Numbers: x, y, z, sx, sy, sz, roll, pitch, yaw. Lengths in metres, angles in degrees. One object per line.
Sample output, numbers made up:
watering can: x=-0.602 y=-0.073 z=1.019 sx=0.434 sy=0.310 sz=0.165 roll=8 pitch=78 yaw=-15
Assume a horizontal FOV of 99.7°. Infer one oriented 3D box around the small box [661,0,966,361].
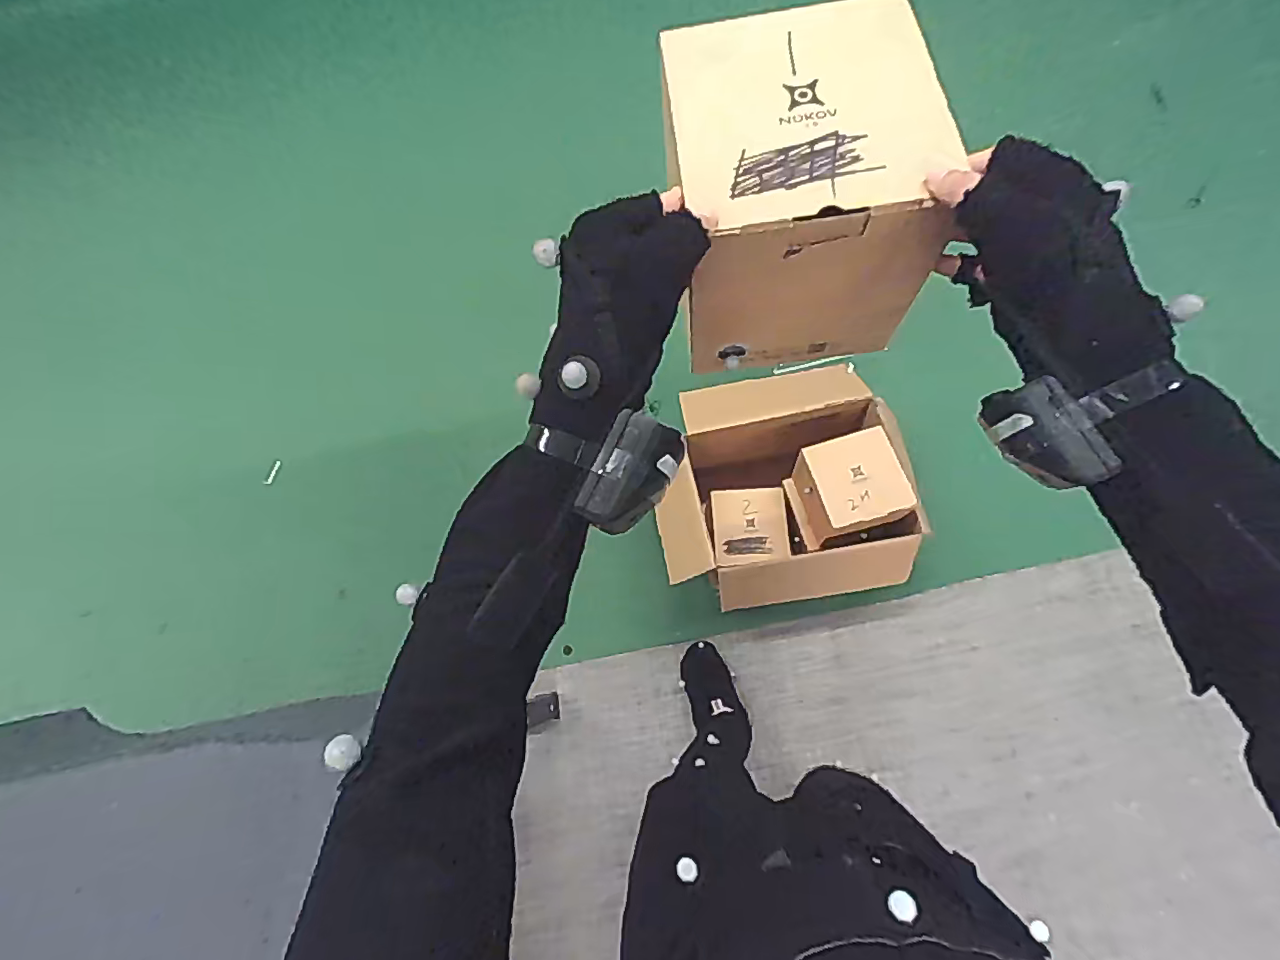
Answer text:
small box: x=0.109 y=-0.206 z=0.416 sx=0.168 sy=0.176 sz=0.179 roll=-6 pitch=72 yaw=4
